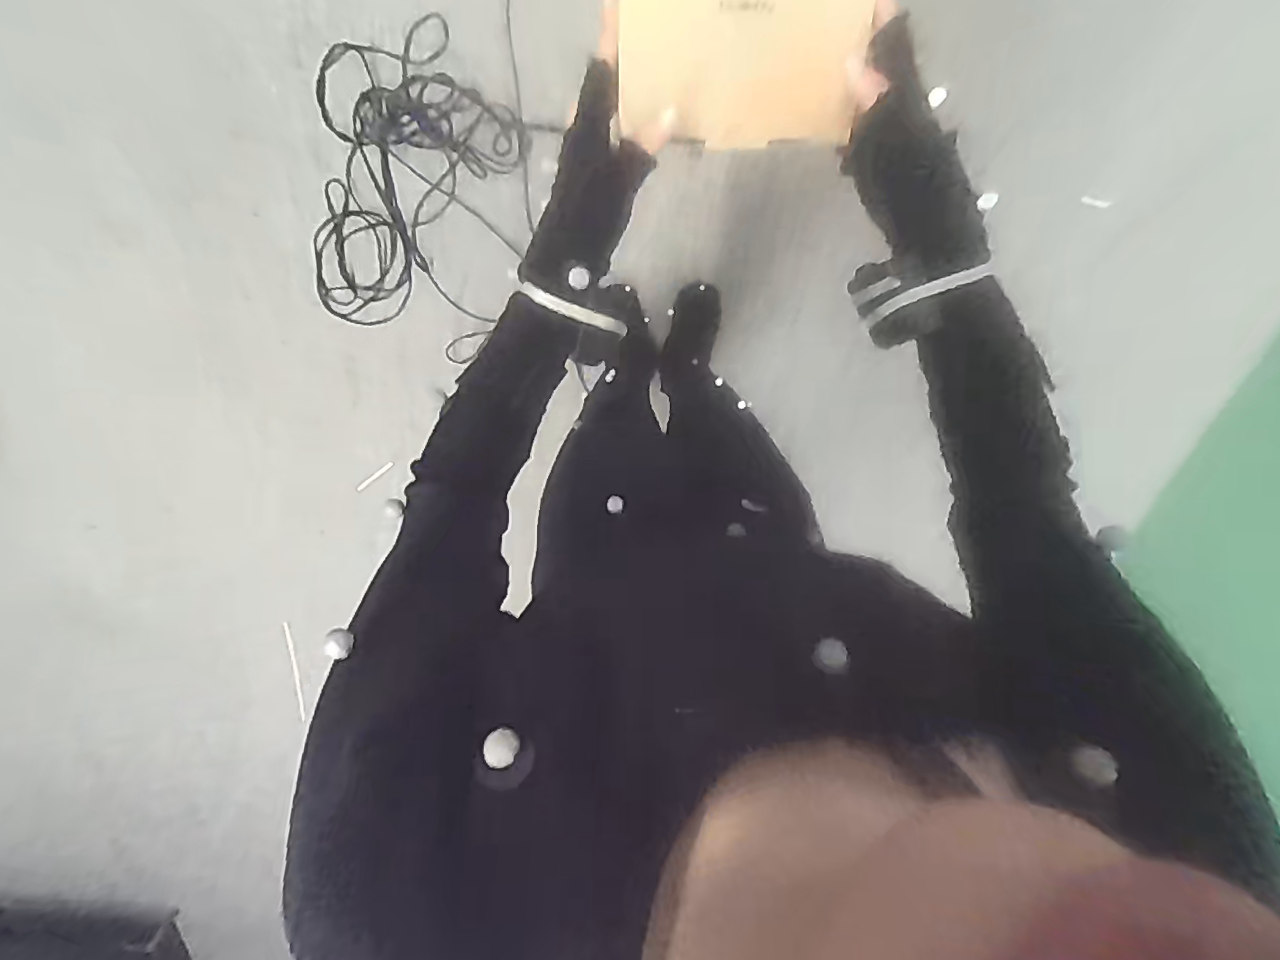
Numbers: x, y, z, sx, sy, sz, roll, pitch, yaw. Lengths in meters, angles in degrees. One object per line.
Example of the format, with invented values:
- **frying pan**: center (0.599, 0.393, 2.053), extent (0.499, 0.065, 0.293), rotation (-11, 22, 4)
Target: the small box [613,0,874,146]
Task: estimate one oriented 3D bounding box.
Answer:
- **small box**: center (0.063, -0.353, 0.399), extent (0.168, 0.176, 0.179), rotation (0, 122, -2)
